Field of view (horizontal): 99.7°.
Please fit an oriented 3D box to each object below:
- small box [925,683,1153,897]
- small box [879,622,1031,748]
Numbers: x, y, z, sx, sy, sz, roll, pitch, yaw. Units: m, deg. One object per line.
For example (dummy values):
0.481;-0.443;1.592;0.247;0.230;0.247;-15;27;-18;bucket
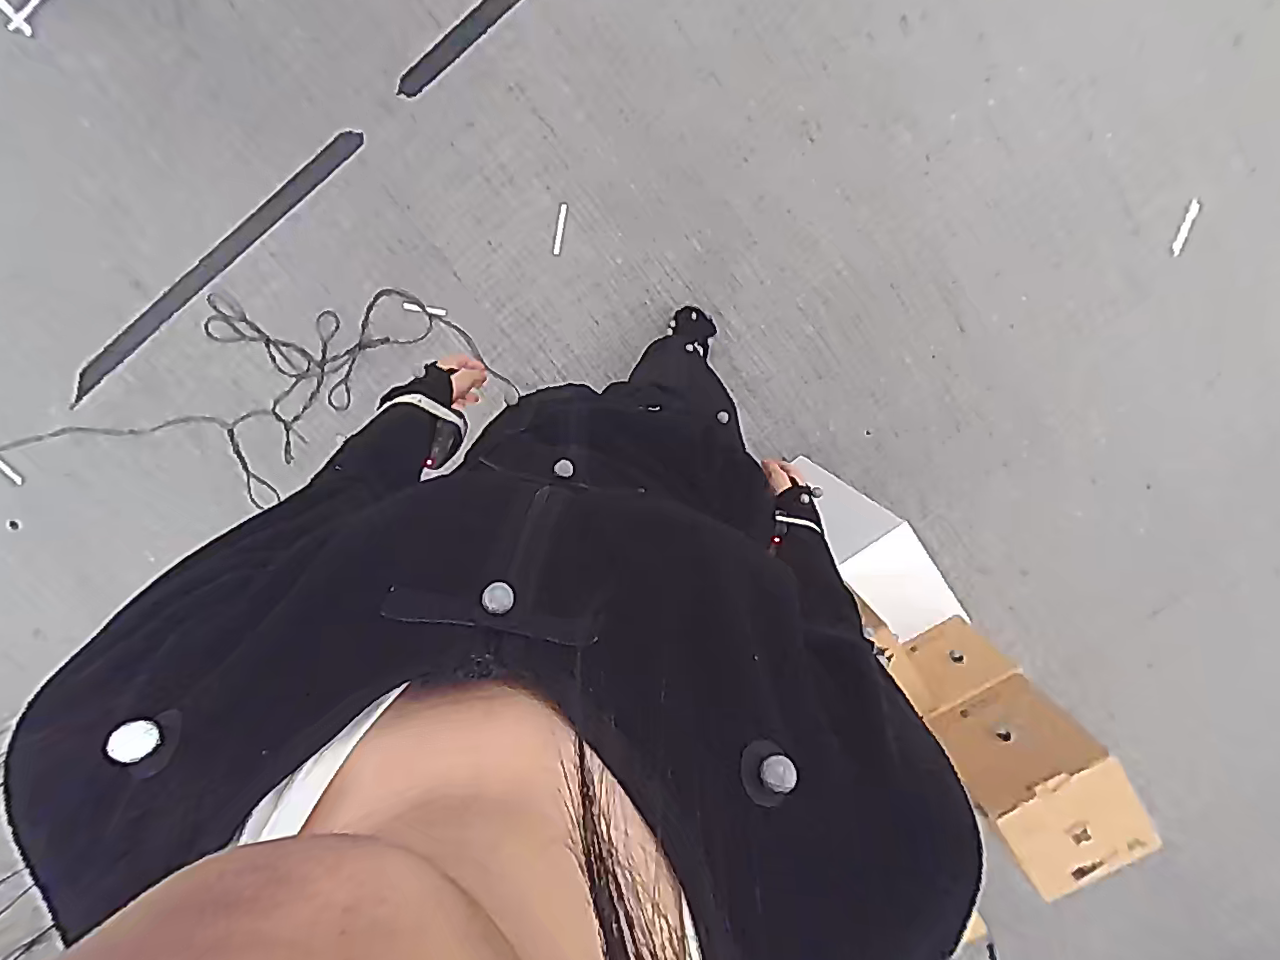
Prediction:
0.544;0.418;0.762;0.168;0.176;0.179;-32;103;6;small box
0.542;0.367;0.919;0.168;0.176;0.179;-32;103;7;small box
